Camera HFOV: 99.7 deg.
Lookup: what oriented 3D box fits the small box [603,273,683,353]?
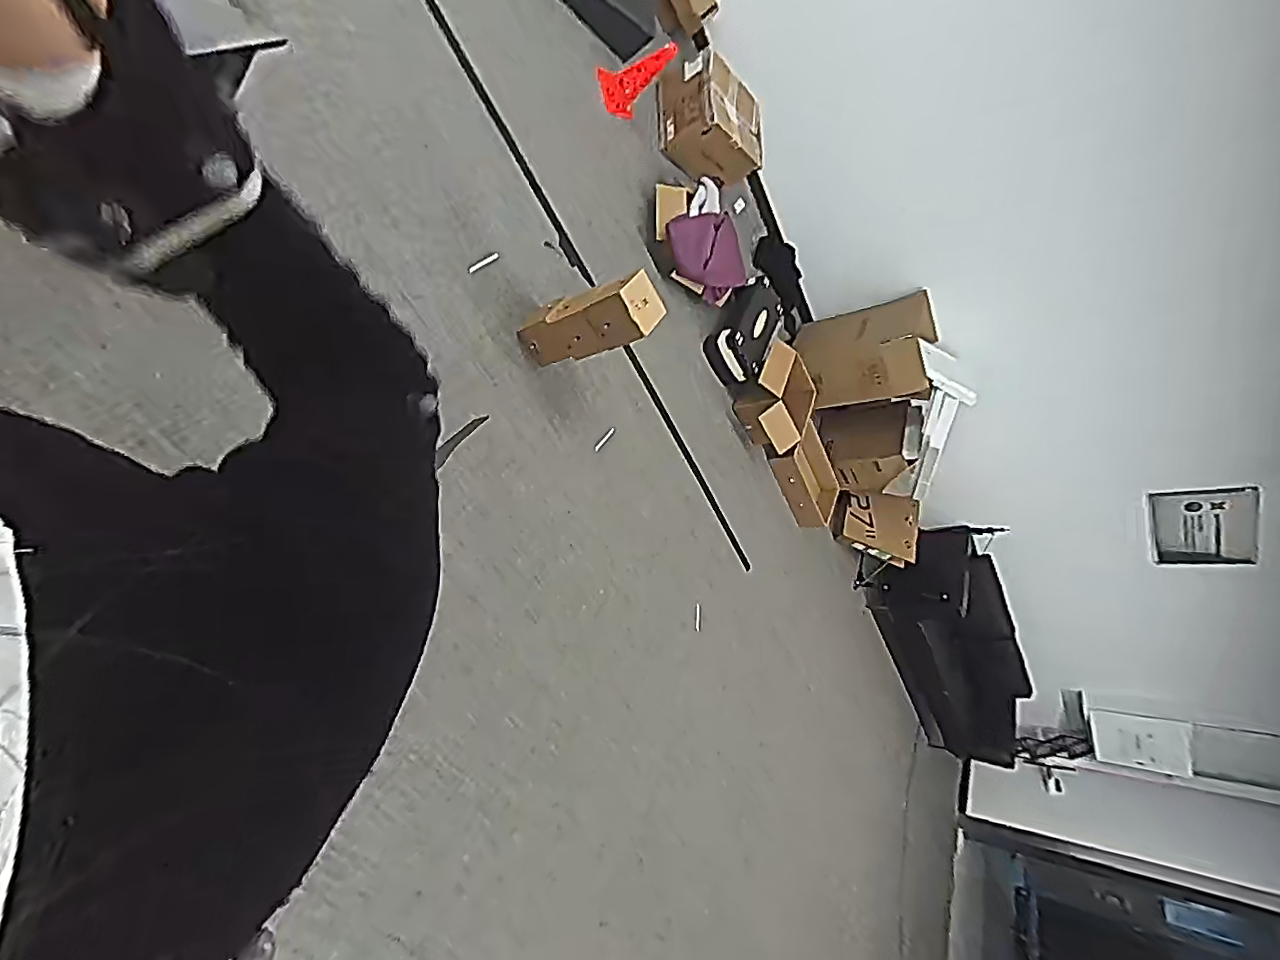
[{"bbox_3d":[0.007,-0.541,1.760,0.168,0.176,0.179,56,47,-27],"label":"small box"}]

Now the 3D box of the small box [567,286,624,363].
[{"bbox_3d":[-0.124,-0.528,1.861,0.168,0.176,0.179,52,49,-31],"label":"small box"}]

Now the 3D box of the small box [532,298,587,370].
[{"bbox_3d":[-0.257,-0.526,1.958,0.168,0.176,0.179,53,50,-30],"label":"small box"}]
